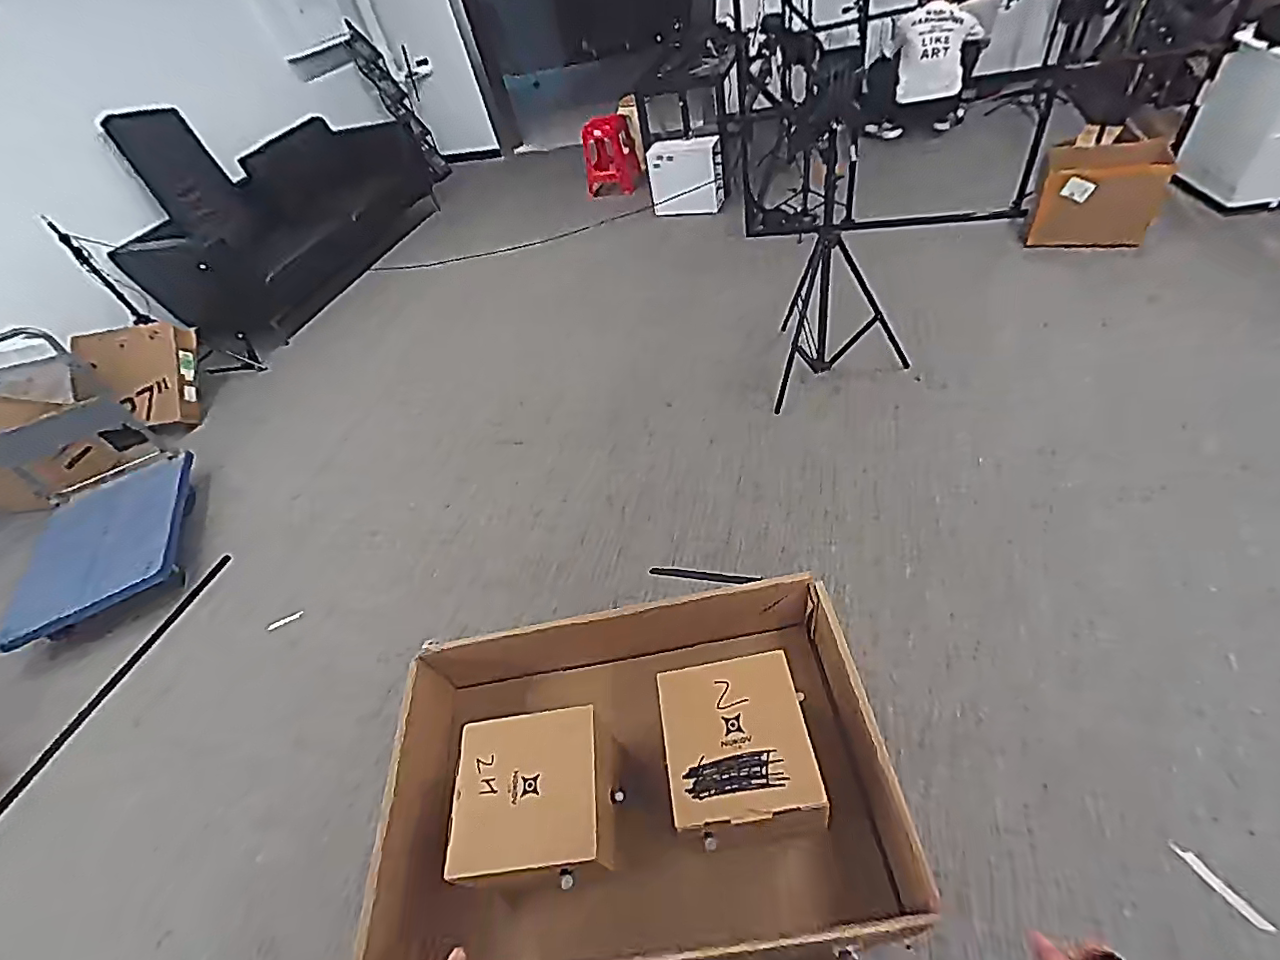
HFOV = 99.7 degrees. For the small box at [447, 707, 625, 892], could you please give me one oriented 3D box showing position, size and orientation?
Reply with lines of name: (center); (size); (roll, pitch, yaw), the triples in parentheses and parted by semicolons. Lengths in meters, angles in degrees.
small box: (-0.118, 0.413, 0.696); (0.179, 0.176, 0.168); (-11, 47, 5)
